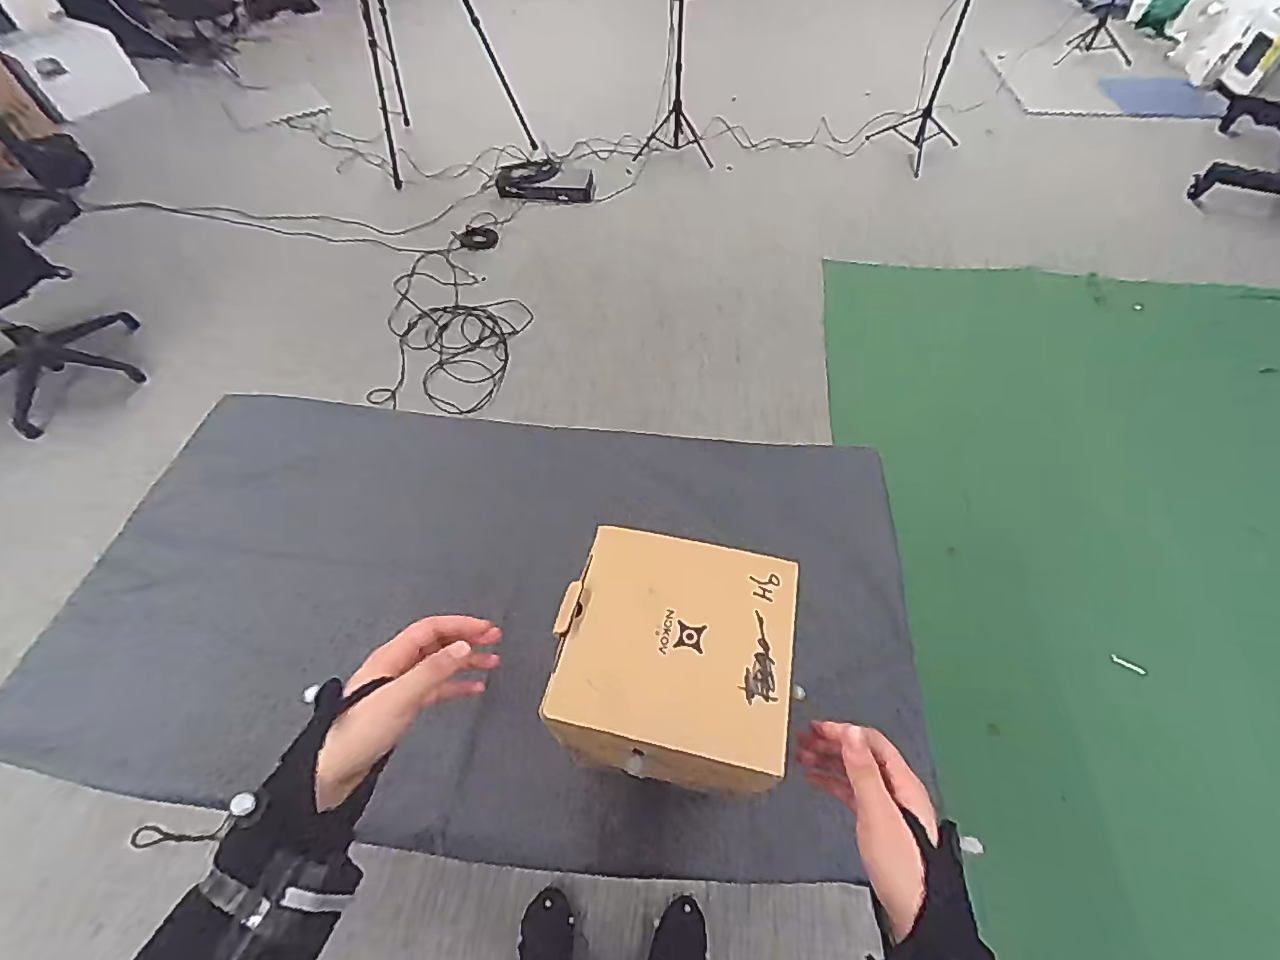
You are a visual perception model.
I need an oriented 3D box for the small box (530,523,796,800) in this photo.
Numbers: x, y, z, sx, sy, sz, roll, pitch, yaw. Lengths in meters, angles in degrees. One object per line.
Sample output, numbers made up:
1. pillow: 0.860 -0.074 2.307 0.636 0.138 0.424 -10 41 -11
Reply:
1. small box: 0.027 0.163 0.474 0.179 0.176 0.168 10 55 9
